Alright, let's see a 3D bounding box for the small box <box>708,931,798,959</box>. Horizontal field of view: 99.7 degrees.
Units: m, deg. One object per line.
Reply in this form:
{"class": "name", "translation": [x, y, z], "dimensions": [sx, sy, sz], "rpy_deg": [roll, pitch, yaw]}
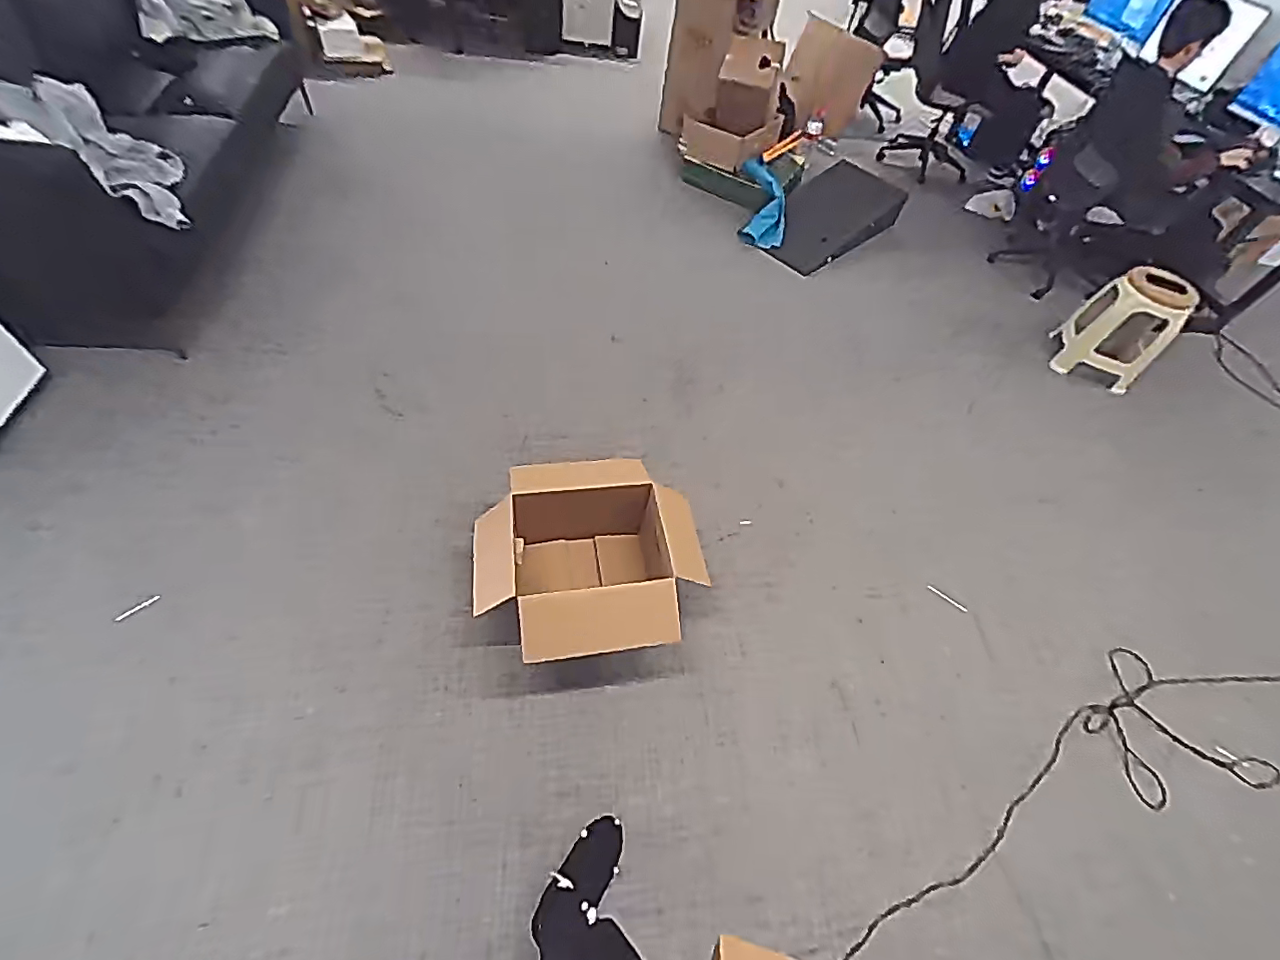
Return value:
{"class": "small box", "translation": [0.155, 0.739, 0.676], "dimensions": [0.168, 0.179, 0.176], "rpy_deg": [17, 92, 5]}
